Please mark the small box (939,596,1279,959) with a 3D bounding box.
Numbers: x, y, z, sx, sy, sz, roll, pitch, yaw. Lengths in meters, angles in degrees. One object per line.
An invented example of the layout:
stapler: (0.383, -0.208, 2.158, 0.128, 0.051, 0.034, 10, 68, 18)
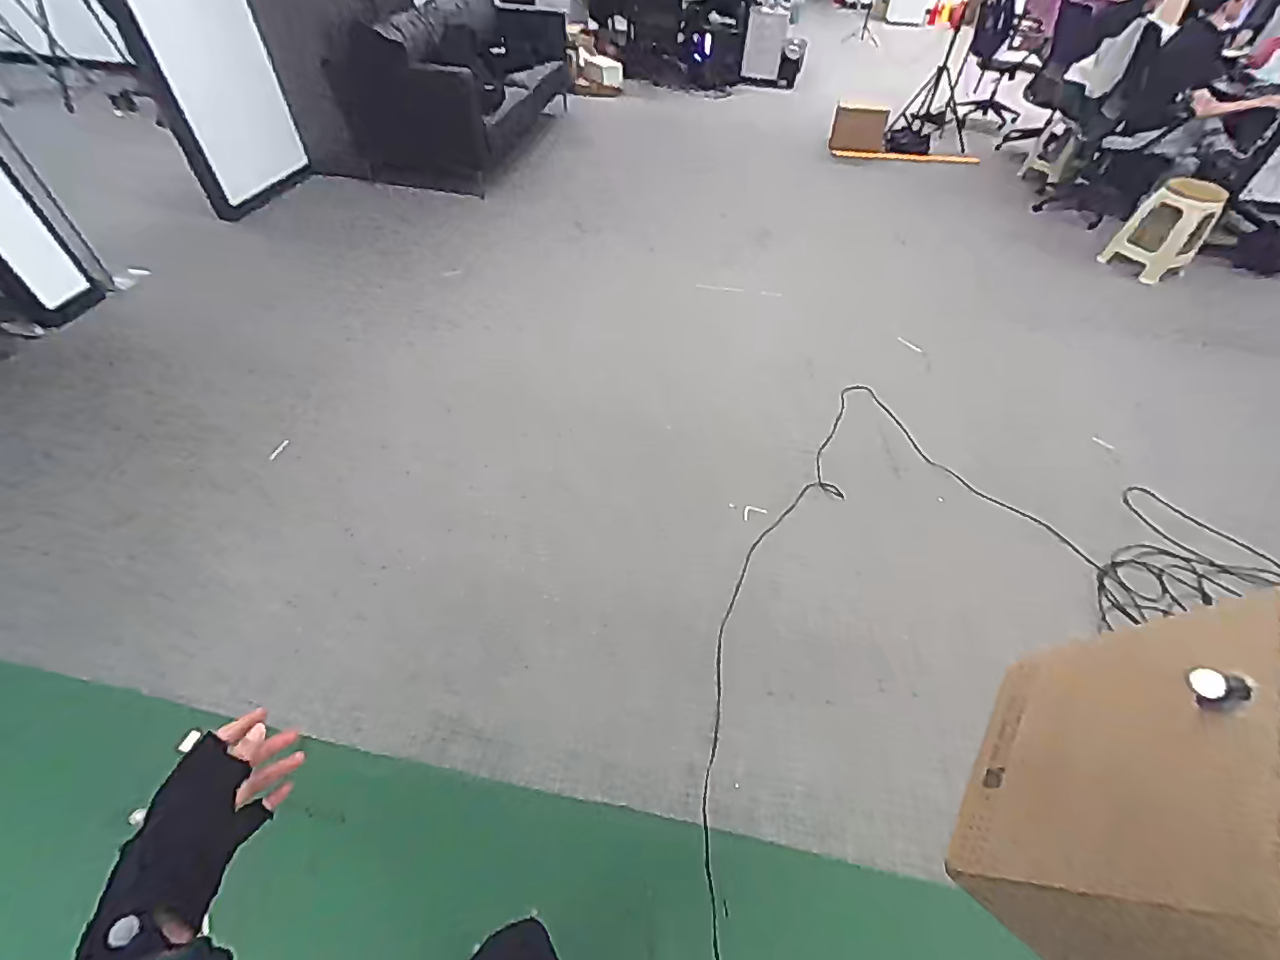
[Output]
small box: (0.305, 0.193, 0.278, 0.179, 0.176, 0.168, 41, 58, 9)
